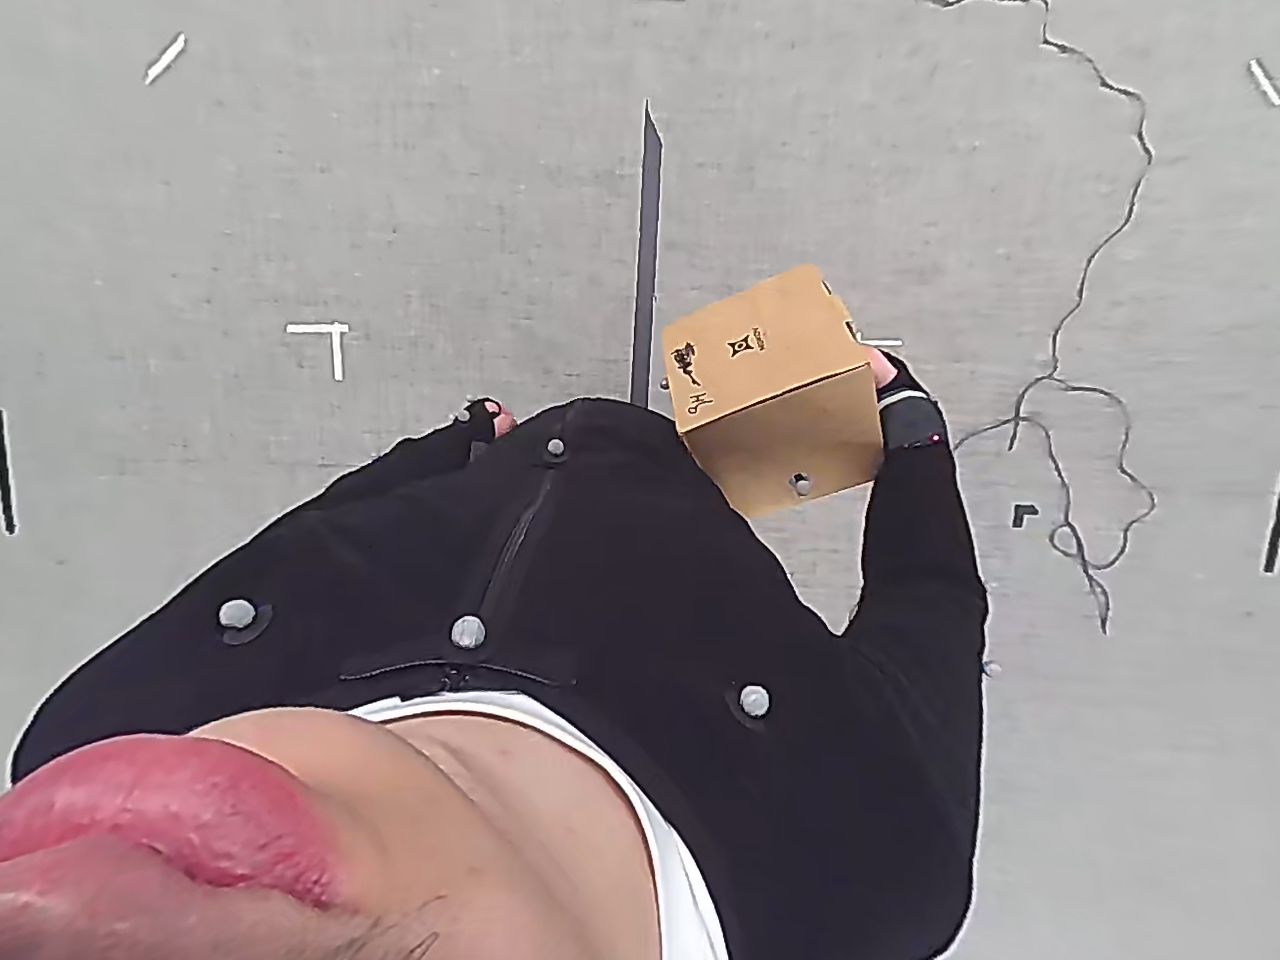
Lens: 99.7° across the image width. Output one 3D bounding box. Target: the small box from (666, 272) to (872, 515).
[{"bbox_3d":[0.145,-0.088,0.601,0.179,0.168,0.176,-19,137,15],"label":"small box"}]
